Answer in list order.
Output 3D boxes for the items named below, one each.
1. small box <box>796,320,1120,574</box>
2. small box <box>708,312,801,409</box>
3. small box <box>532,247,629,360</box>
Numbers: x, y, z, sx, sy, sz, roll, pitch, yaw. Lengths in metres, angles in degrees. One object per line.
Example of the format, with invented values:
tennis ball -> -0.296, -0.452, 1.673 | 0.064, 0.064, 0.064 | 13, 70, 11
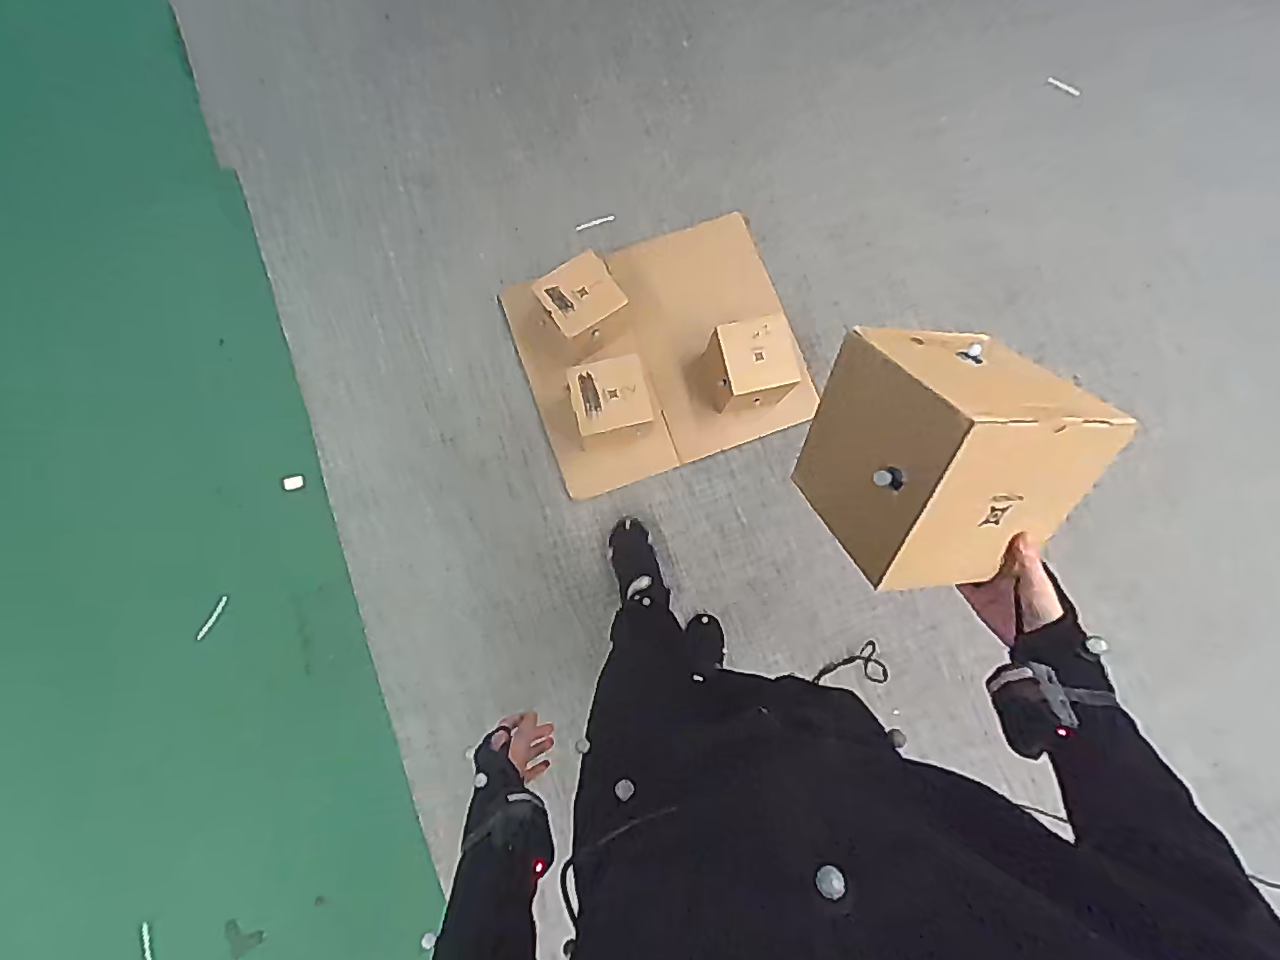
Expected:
small box -> 0.272, -0.033, 0.515 | 0.168, 0.176, 0.179 | -1, 126, -16
small box -> 0.273, -0.284, 1.326 | 0.168, 0.176, 0.179 | -12, 82, -4
small box -> -0.140, -0.428, 1.343 | 0.179, 0.176, 0.168 | -33, 84, -7
